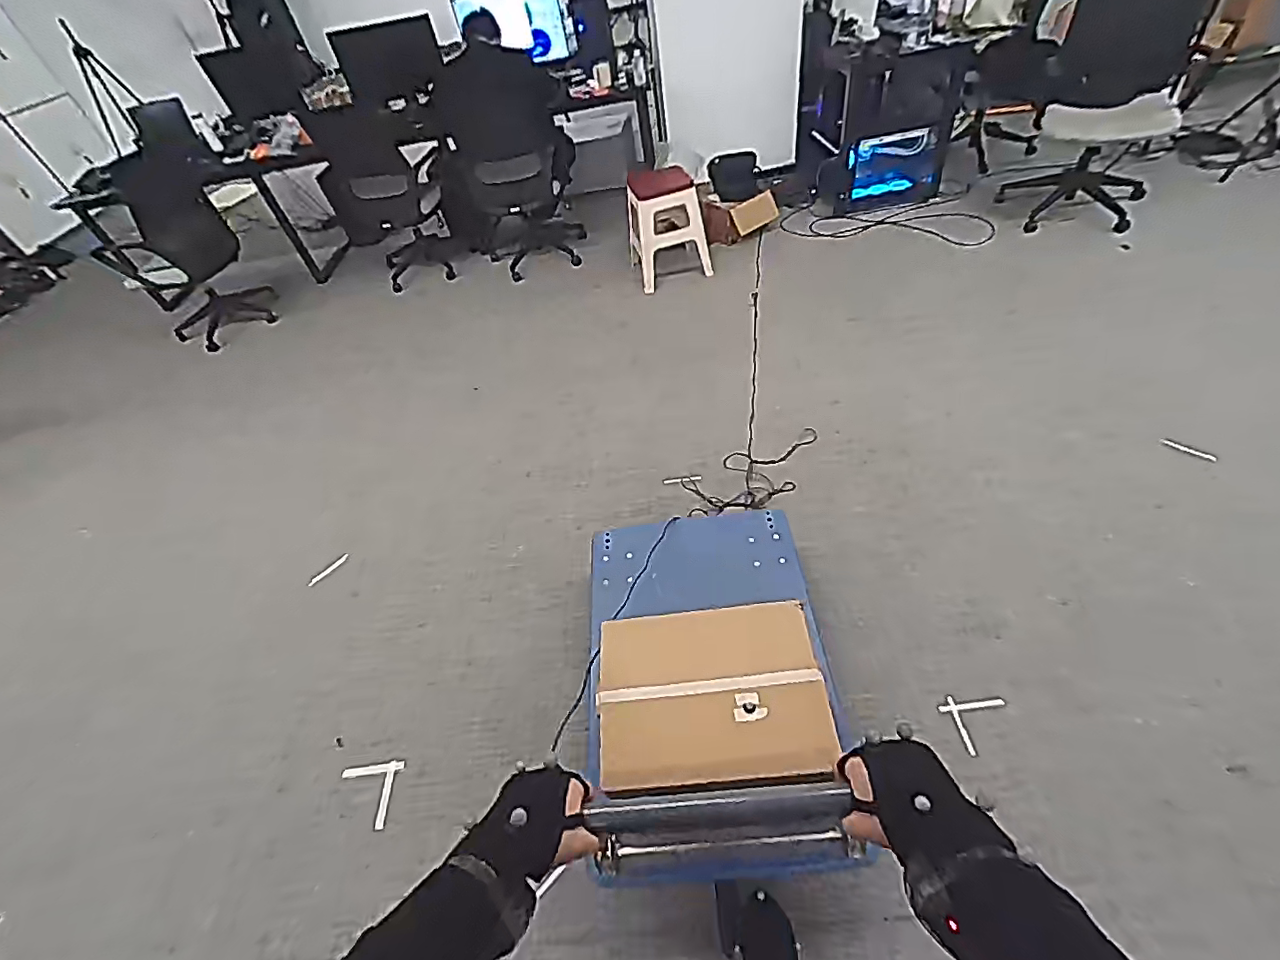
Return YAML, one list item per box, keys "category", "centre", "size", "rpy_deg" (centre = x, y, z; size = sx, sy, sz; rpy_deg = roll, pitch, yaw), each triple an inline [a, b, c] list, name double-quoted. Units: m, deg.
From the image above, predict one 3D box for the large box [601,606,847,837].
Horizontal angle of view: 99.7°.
- category: "large box"
  centre: [0.145, 0.484, 1.073]
  size: [0.408, 0.320, 0.320]
  rpy_deg: [-7, 47, 4]
